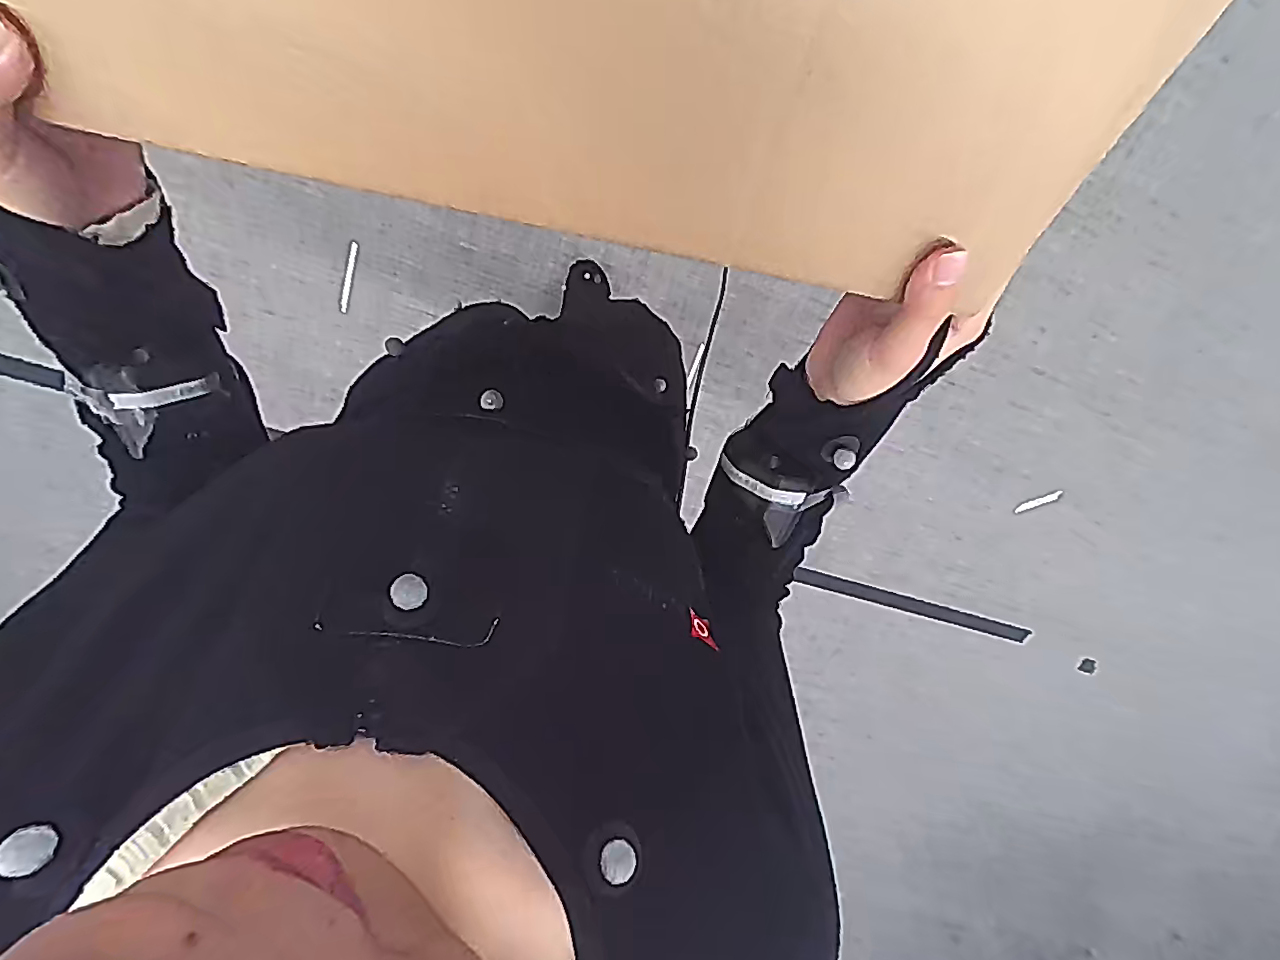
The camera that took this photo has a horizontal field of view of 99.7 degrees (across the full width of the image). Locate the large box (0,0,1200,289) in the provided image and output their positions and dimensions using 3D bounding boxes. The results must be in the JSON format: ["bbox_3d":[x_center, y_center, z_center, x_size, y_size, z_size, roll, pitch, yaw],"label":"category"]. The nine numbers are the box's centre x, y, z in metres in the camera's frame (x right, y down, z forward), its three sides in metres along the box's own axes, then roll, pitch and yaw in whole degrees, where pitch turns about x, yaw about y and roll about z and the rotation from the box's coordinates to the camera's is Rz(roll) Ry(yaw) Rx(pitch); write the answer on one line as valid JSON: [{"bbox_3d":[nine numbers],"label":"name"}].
[{"bbox_3d":[-0.008,-0.322,0.208,0.408,0.320,0.320,8,140,-8],"label":"large box"}]
